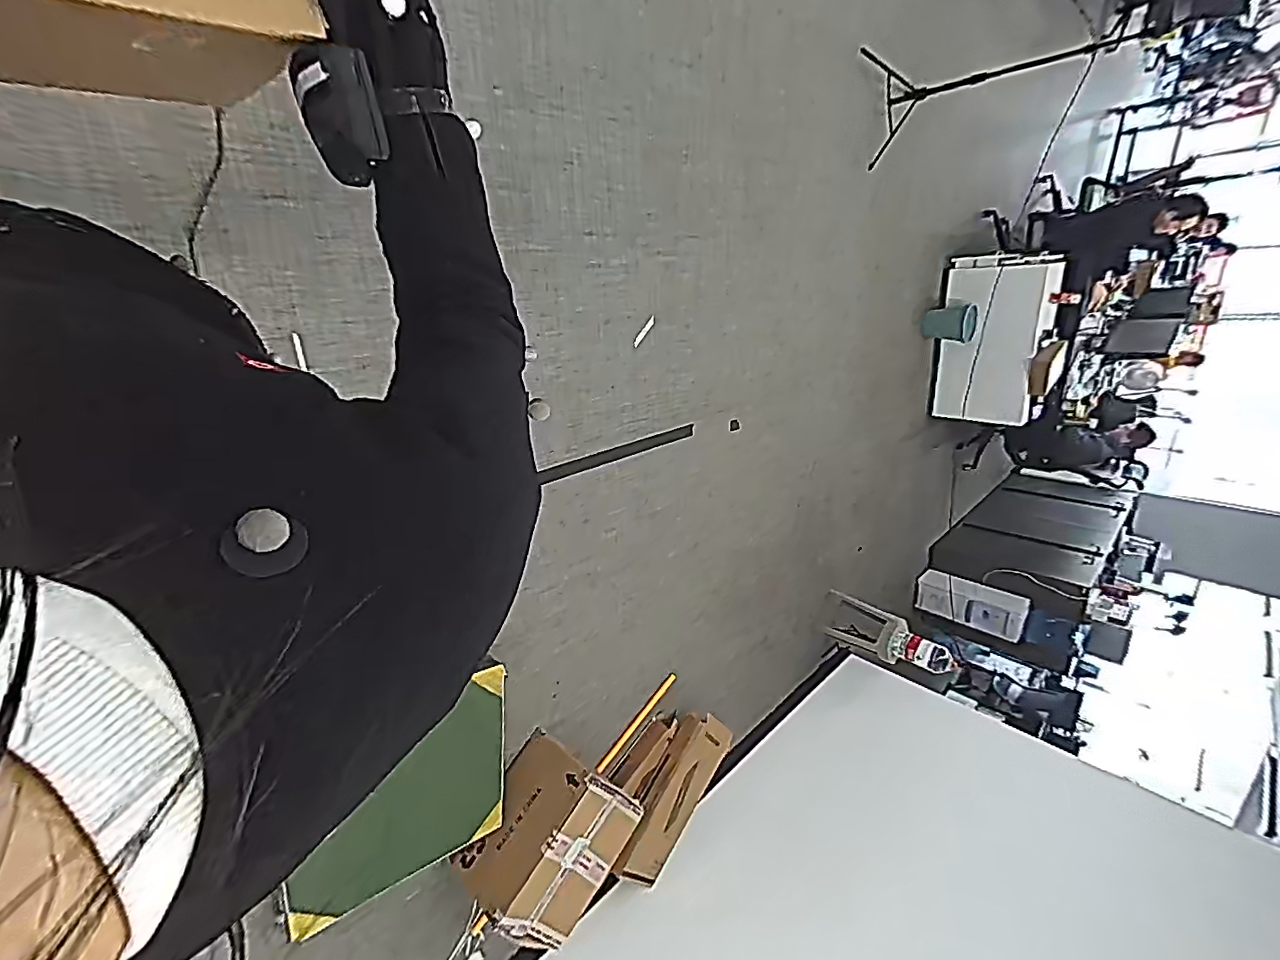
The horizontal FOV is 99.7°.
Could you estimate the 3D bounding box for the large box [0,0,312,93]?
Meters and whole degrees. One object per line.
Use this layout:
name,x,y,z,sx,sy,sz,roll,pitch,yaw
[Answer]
large box,-0.441,-0.394,0.233,0.408,0.320,0.320,-22,126,-38
